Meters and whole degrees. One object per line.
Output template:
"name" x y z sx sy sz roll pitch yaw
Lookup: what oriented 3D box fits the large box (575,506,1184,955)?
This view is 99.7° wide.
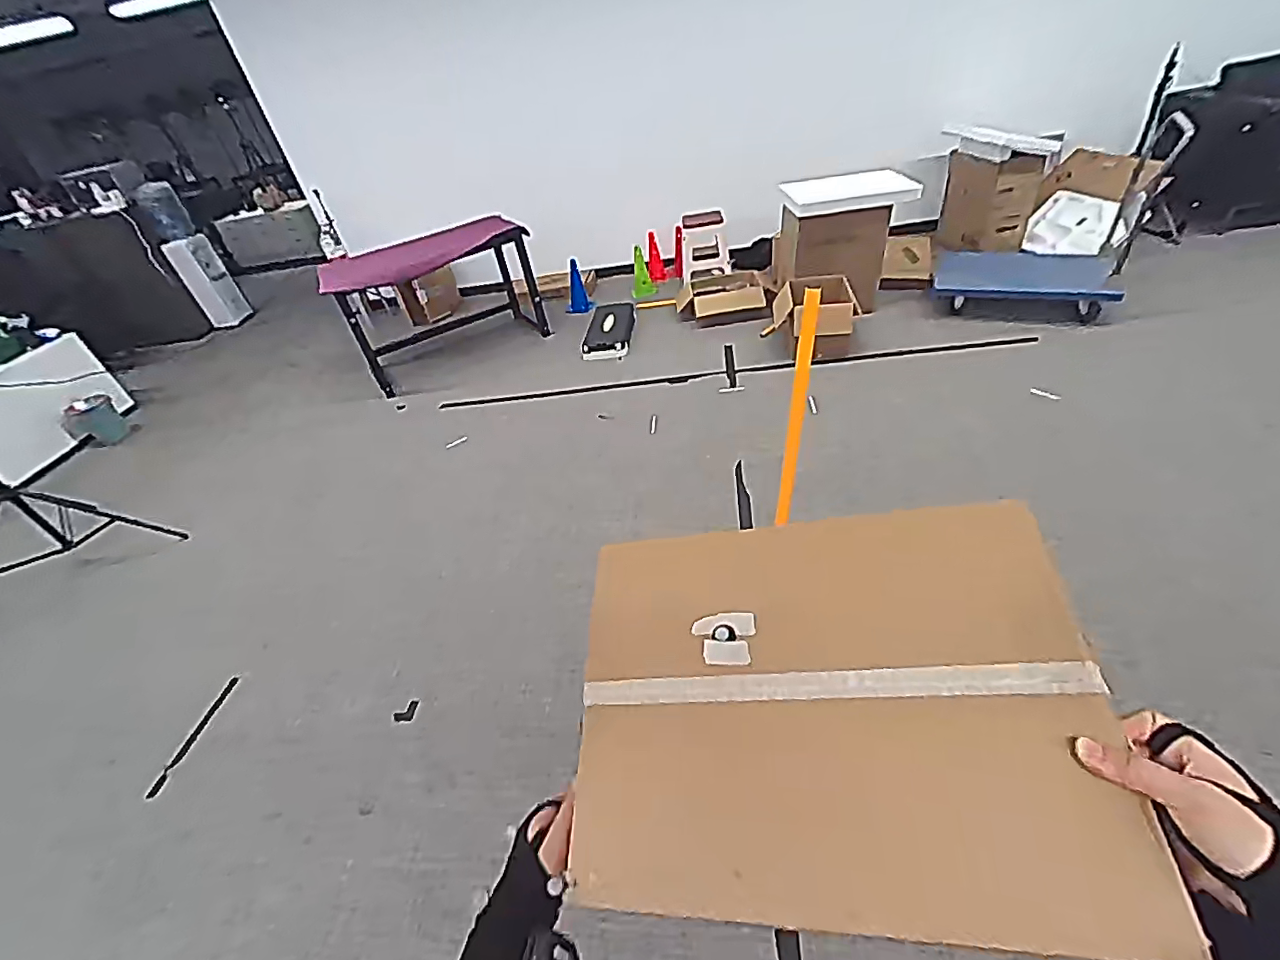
"large box" 0.191 0.261 0.569 0.408 0.320 0.320 -10 52 18
